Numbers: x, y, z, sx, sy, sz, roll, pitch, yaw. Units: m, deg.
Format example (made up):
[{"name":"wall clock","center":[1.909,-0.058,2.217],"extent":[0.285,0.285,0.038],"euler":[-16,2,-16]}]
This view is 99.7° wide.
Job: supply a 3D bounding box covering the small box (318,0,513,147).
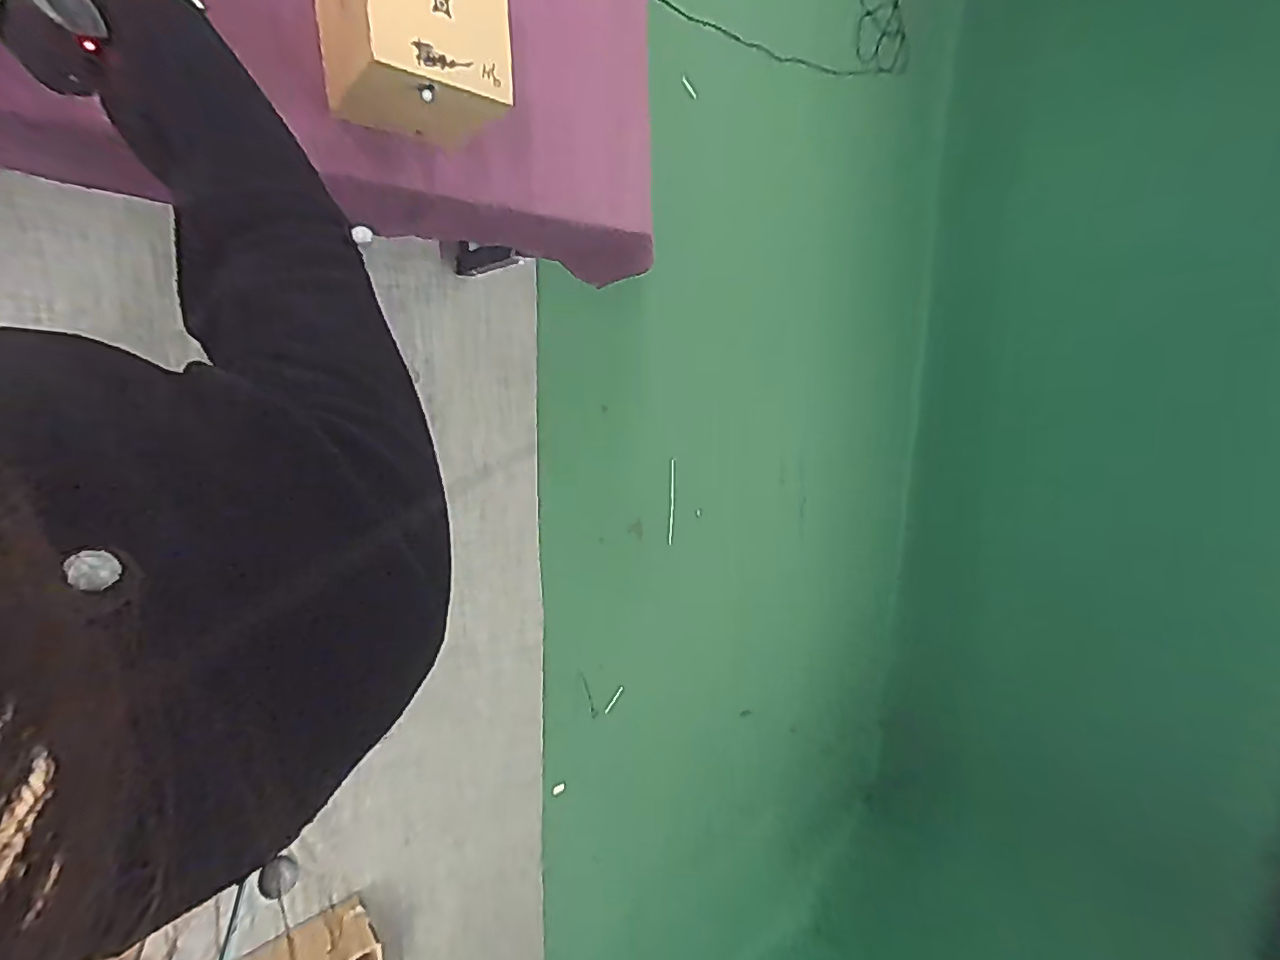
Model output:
[{"name":"small box","center":[-0.273,-0.540,0.651],"extent":[0.168,0.176,0.179],"euler":[-12,105,-40]}]
